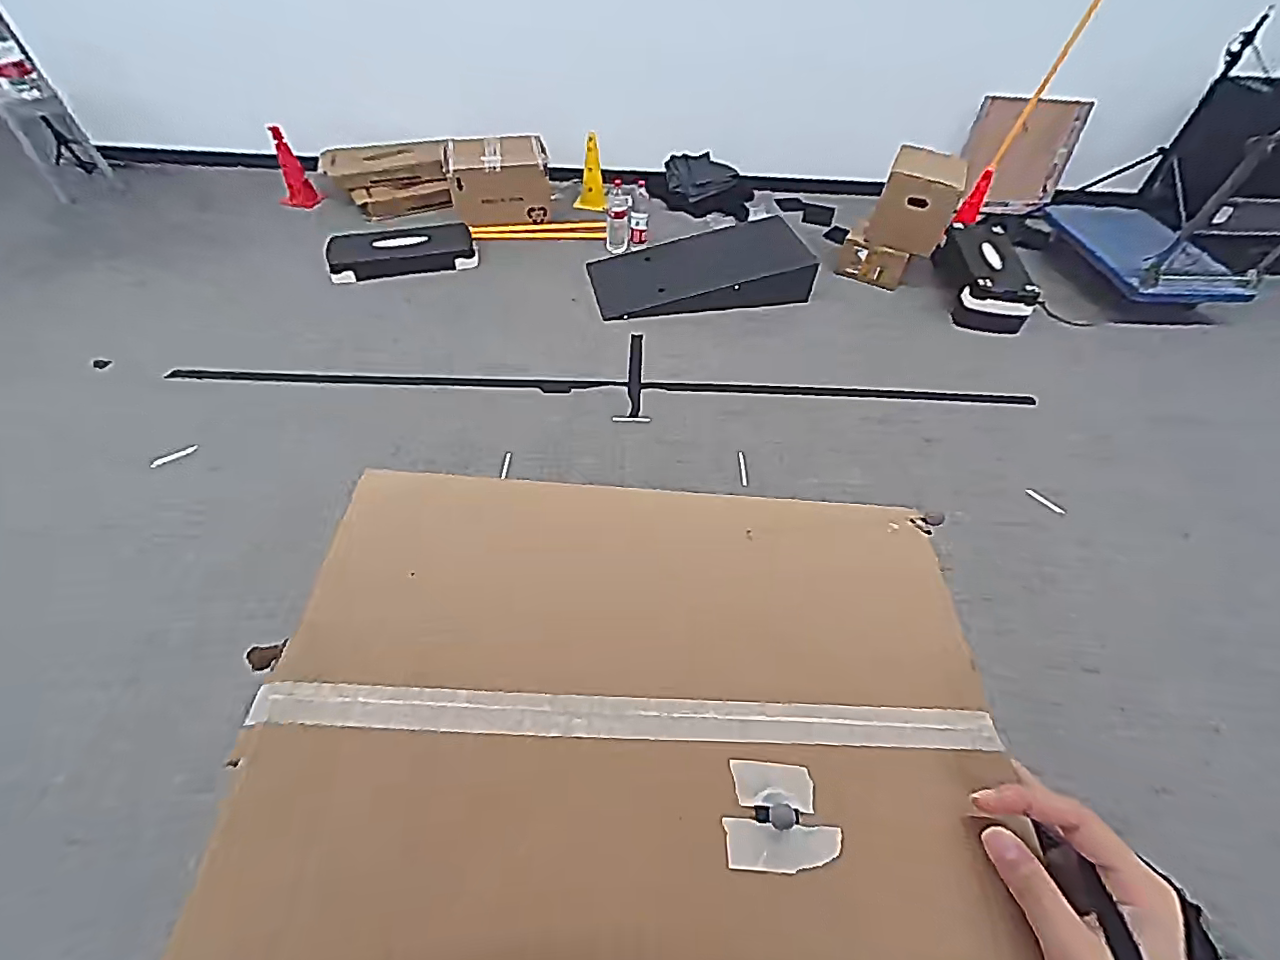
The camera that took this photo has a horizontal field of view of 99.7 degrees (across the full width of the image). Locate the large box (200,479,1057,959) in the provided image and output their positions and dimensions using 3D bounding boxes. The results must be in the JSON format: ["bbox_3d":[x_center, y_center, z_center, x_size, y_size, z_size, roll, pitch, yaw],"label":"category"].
[{"bbox_3d":[-0.009,0.223,0.432,0.408,0.320,0.320,5,54,-4],"label":"large box"}]
